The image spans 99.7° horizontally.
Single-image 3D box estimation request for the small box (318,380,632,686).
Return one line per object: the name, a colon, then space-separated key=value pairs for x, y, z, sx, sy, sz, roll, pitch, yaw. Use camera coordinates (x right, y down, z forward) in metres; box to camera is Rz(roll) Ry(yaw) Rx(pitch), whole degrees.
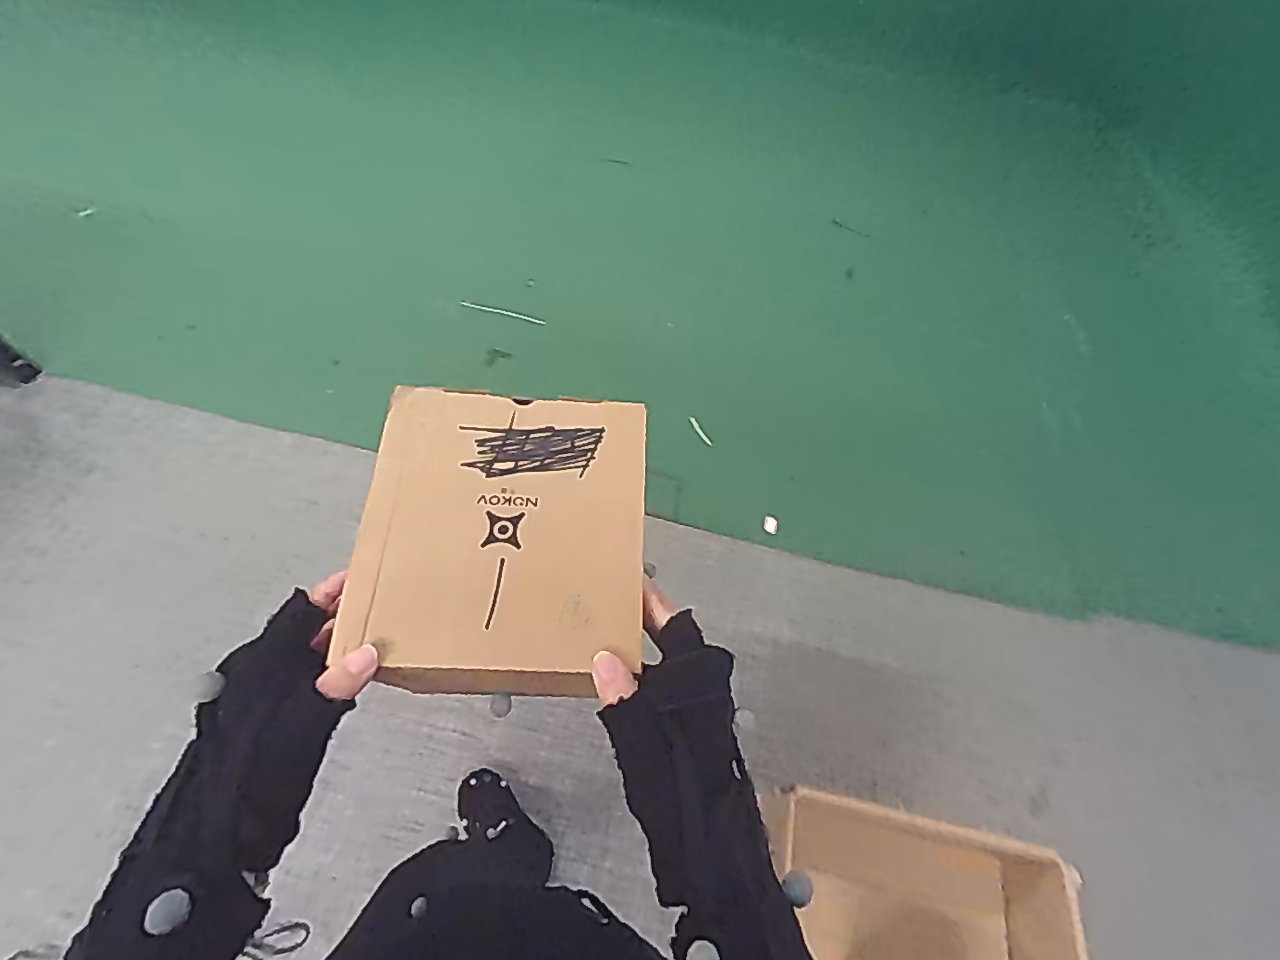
small box: x=-0.096 y=0.050 z=0.398 sx=0.168 sy=0.176 sz=0.179 roll=3 pitch=65 yaw=-4
